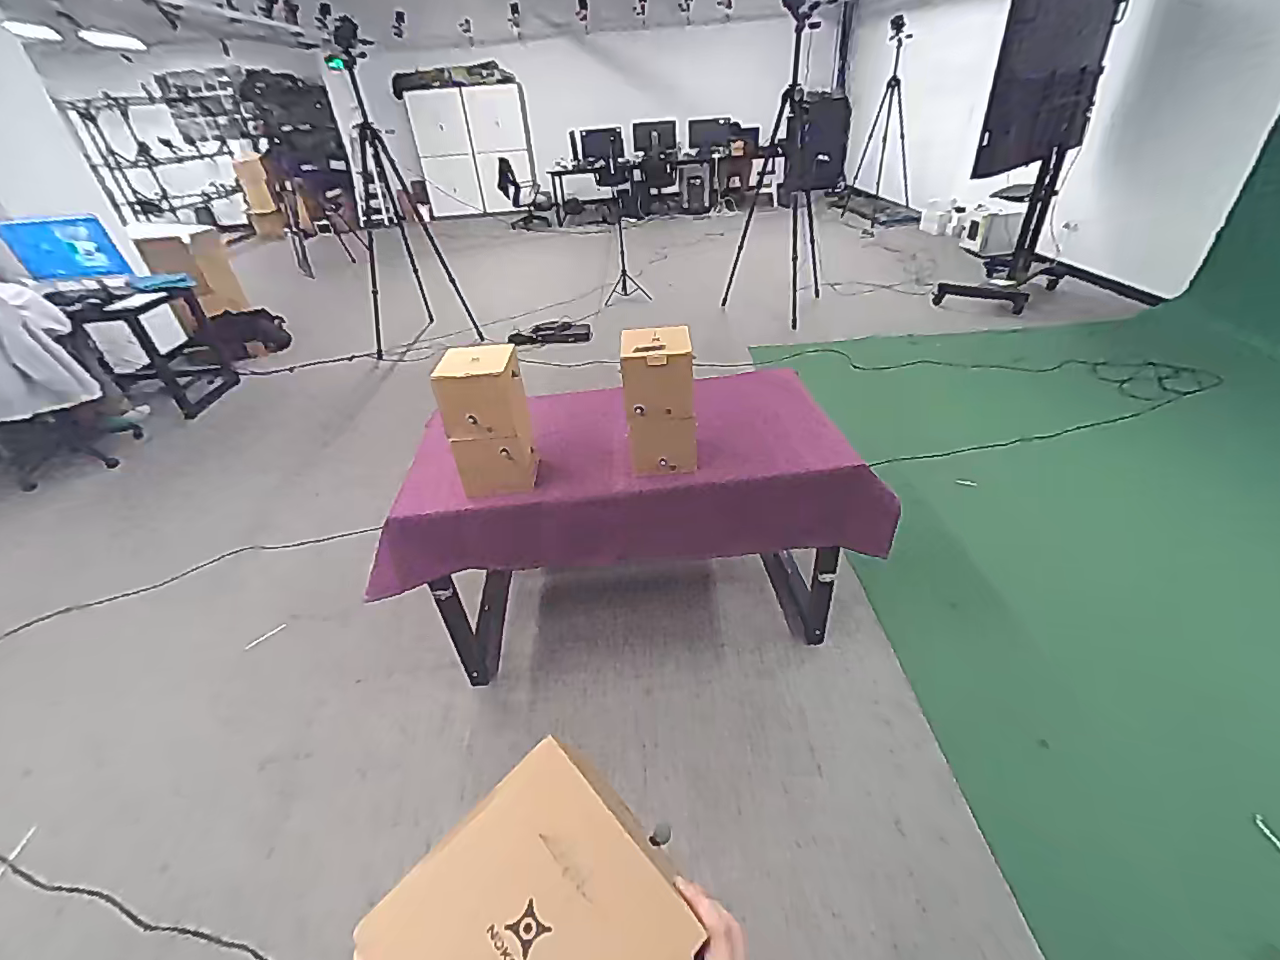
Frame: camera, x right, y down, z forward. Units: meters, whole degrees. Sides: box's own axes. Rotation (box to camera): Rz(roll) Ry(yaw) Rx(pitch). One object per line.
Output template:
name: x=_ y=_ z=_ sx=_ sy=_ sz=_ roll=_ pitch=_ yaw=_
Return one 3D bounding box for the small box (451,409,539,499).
small box: x=-0.365 y=-0.067 z=1.402 sx=0.179 sy=0.176 sz=0.168 roll=-5 pitch=34 yaw=0

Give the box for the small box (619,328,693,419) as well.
small box: x=0.042 y=-0.258 z=1.328 sx=0.168 sy=0.176 sz=0.179 roll=-4 pitch=34 yaw=3

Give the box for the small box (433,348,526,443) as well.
small box: x=-0.380 y=-0.206 z=1.317 sx=0.168 sy=0.176 sz=0.179 roll=-5 pitch=36 yaw=1
